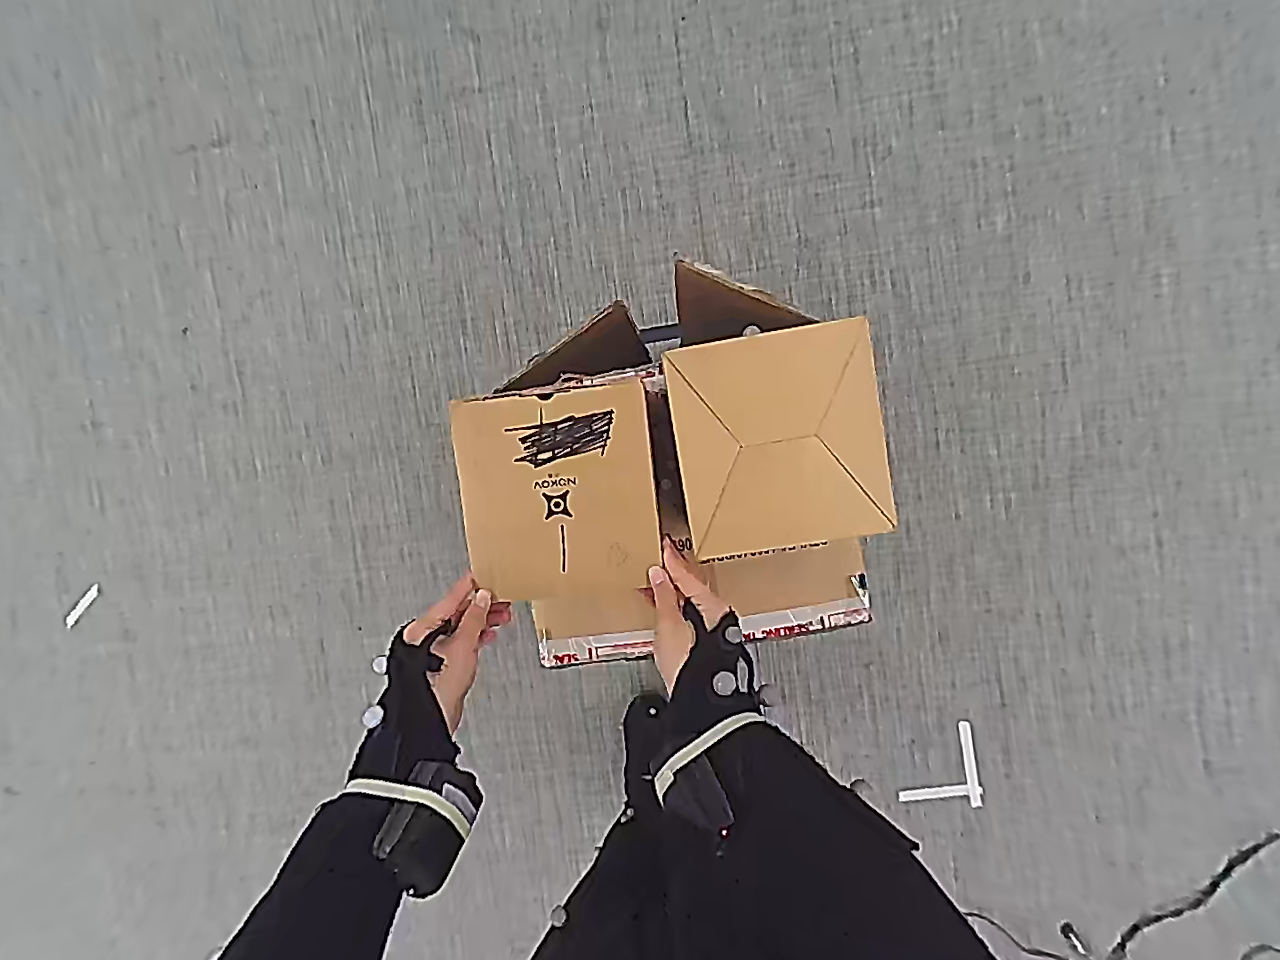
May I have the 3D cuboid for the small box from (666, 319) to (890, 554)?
[{"bbox_3d":[0.118,-0.036,0.517,0.168,0.176,0.179,-10,93,3],"label":"small box"}]

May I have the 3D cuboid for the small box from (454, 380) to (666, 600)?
[{"bbox_3d":[-0.065,0.005,0.535,0.168,0.176,0.179,-6,95,3],"label":"small box"}]
